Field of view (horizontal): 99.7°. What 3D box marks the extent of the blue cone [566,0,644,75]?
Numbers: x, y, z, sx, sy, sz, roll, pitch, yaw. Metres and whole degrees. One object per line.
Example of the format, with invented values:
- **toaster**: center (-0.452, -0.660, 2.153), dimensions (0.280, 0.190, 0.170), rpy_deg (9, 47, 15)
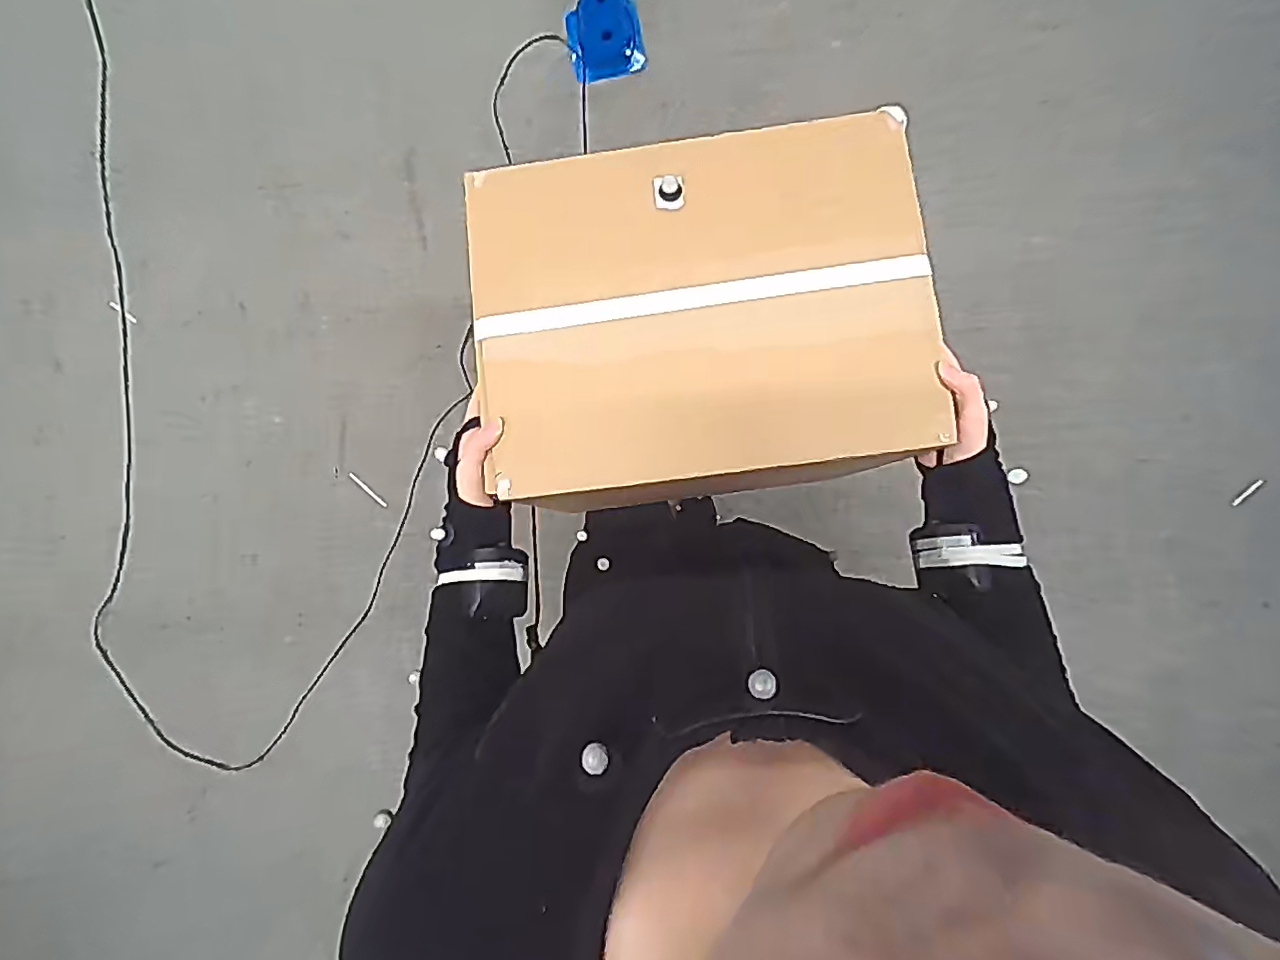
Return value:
- **blue cone**: center (-0.098, -1.210, 1.302), dimensions (0.193, 0.380, 0.192), rpy_deg (-14, 91, 1)
